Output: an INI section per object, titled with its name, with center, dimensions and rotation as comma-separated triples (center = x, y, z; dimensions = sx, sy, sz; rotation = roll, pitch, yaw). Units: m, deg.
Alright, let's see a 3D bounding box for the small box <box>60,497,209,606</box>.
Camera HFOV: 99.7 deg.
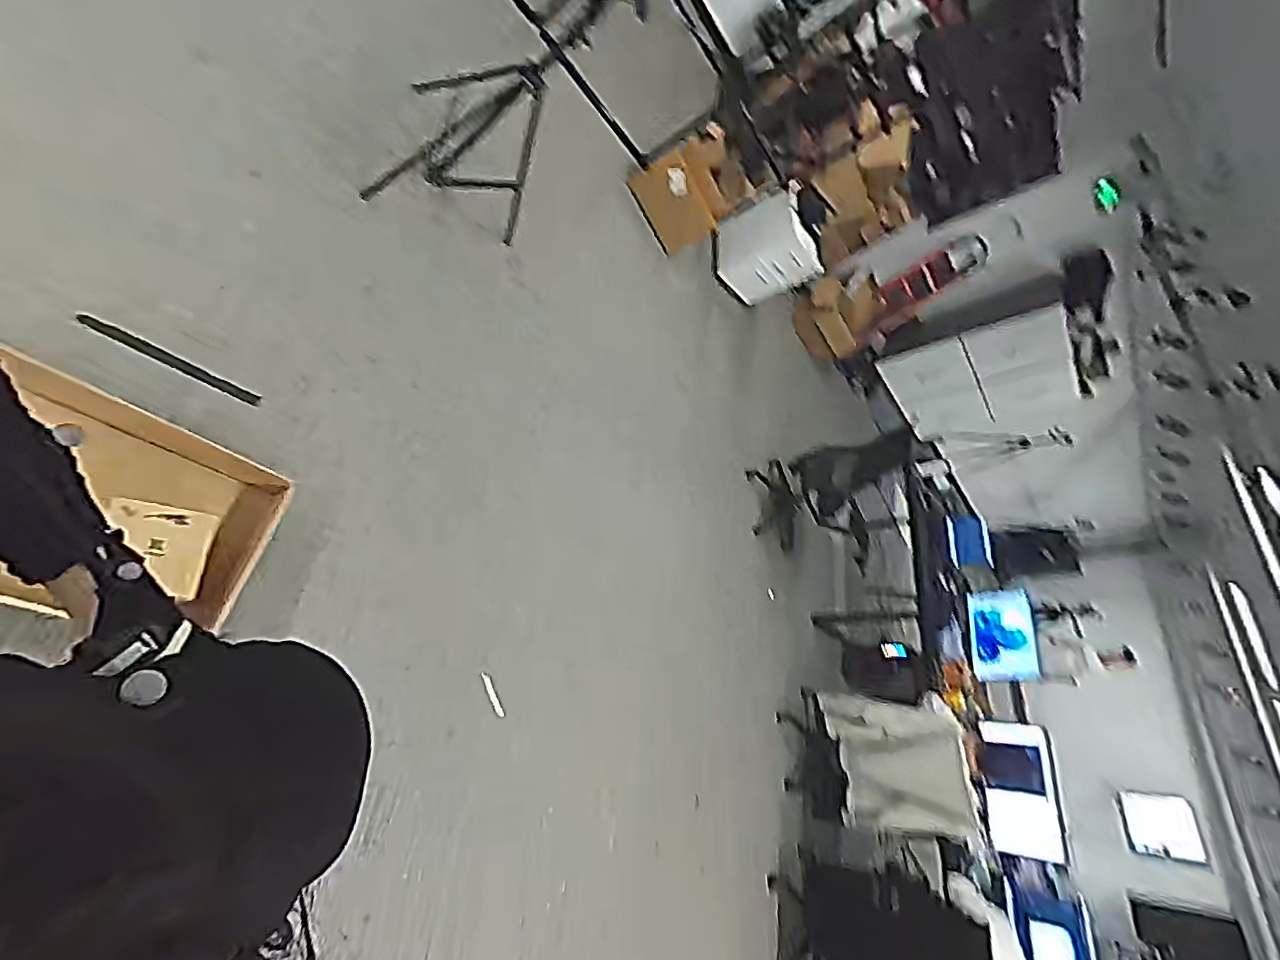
[small box]
center = -0.994, 0.150, 1.064
dimensions = 0.168, 0.176, 0.179
rotation = 24, 59, -46
